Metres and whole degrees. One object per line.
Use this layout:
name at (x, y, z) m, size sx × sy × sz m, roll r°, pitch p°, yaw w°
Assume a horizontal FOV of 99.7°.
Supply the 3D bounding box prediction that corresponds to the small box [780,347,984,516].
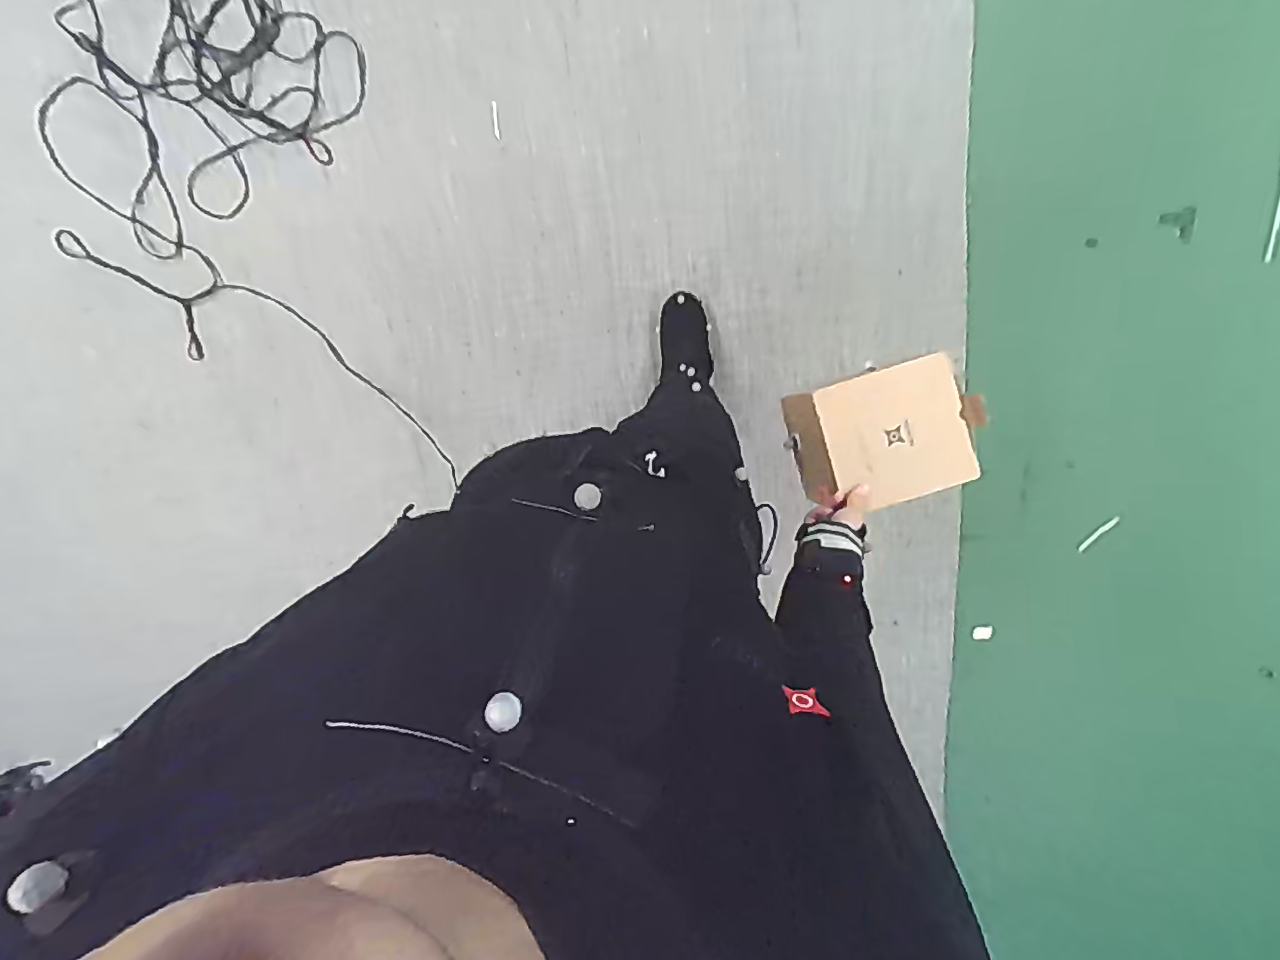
small box at (0.313, -0.065, 0.732) m, size 0.179 × 0.176 × 0.168 m, roll -19°, pitch 94°, yaw 2°
